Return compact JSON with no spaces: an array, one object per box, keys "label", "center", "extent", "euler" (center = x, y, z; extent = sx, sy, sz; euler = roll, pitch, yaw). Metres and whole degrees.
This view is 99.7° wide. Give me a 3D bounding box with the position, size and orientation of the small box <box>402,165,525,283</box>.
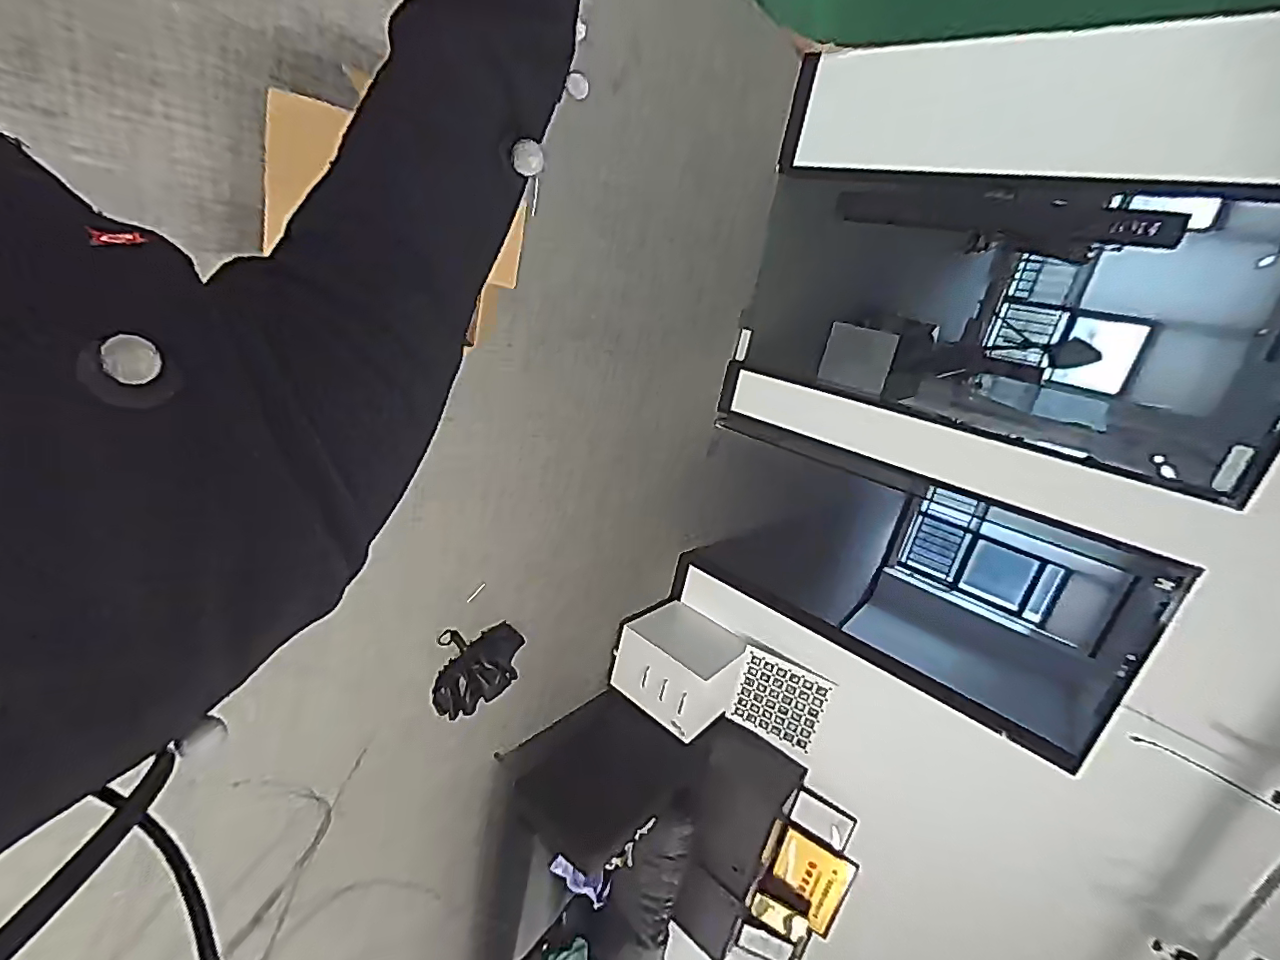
[{"label":"small box","center":[-0.359,-0.513,1.091],"extent":[0.168,0.176,0.179],"euler":[-8,116,-51]}]
